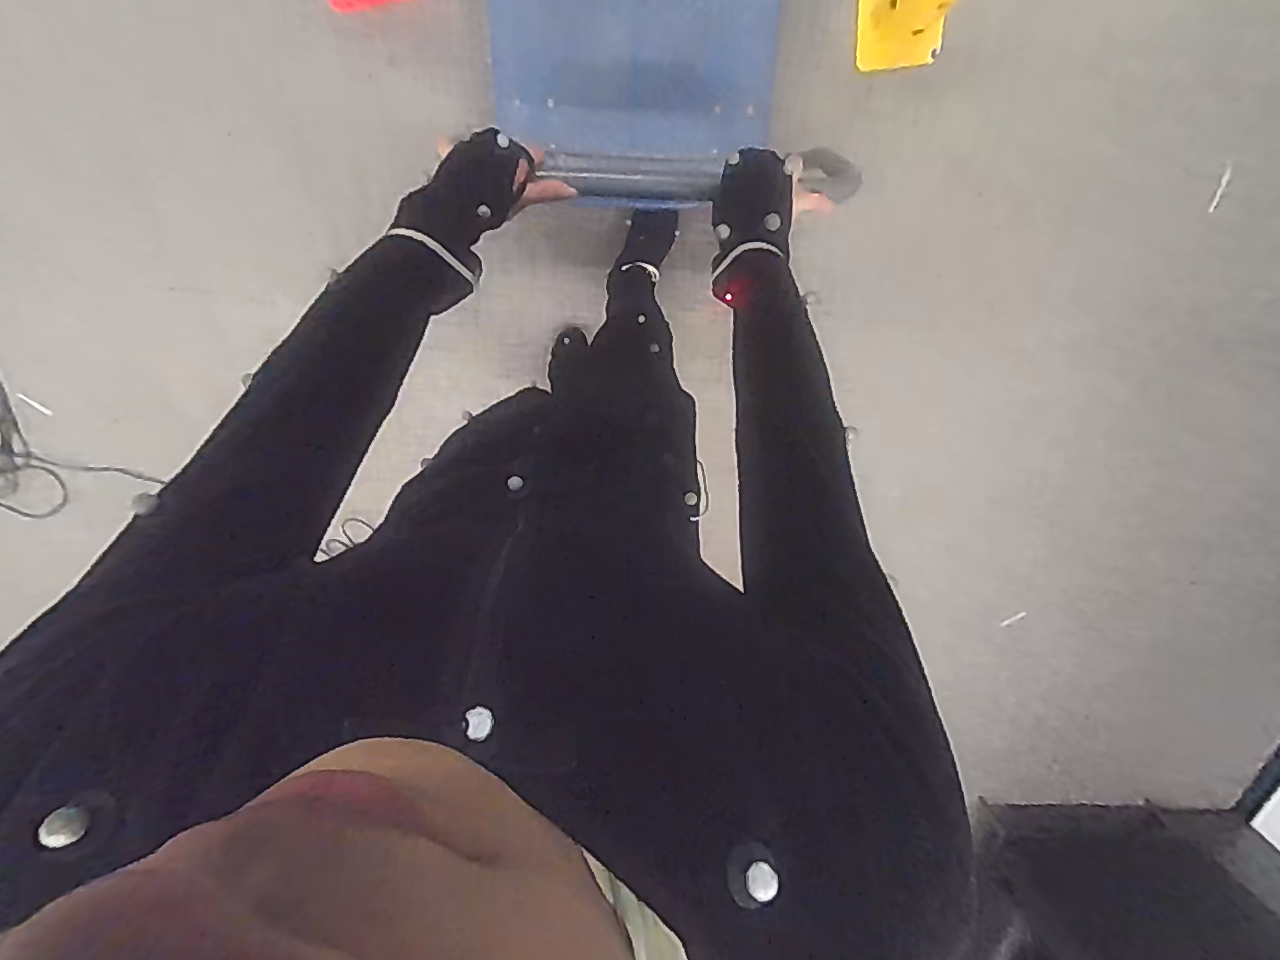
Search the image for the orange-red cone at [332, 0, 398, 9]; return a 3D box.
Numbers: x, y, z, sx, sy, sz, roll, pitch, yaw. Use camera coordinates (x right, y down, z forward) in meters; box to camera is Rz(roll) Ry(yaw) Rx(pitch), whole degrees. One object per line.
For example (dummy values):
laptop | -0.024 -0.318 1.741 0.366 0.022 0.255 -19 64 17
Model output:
orange-red cone | -0.575 -1.048 0.973 0.199 0.360 0.198 -9 114 3
